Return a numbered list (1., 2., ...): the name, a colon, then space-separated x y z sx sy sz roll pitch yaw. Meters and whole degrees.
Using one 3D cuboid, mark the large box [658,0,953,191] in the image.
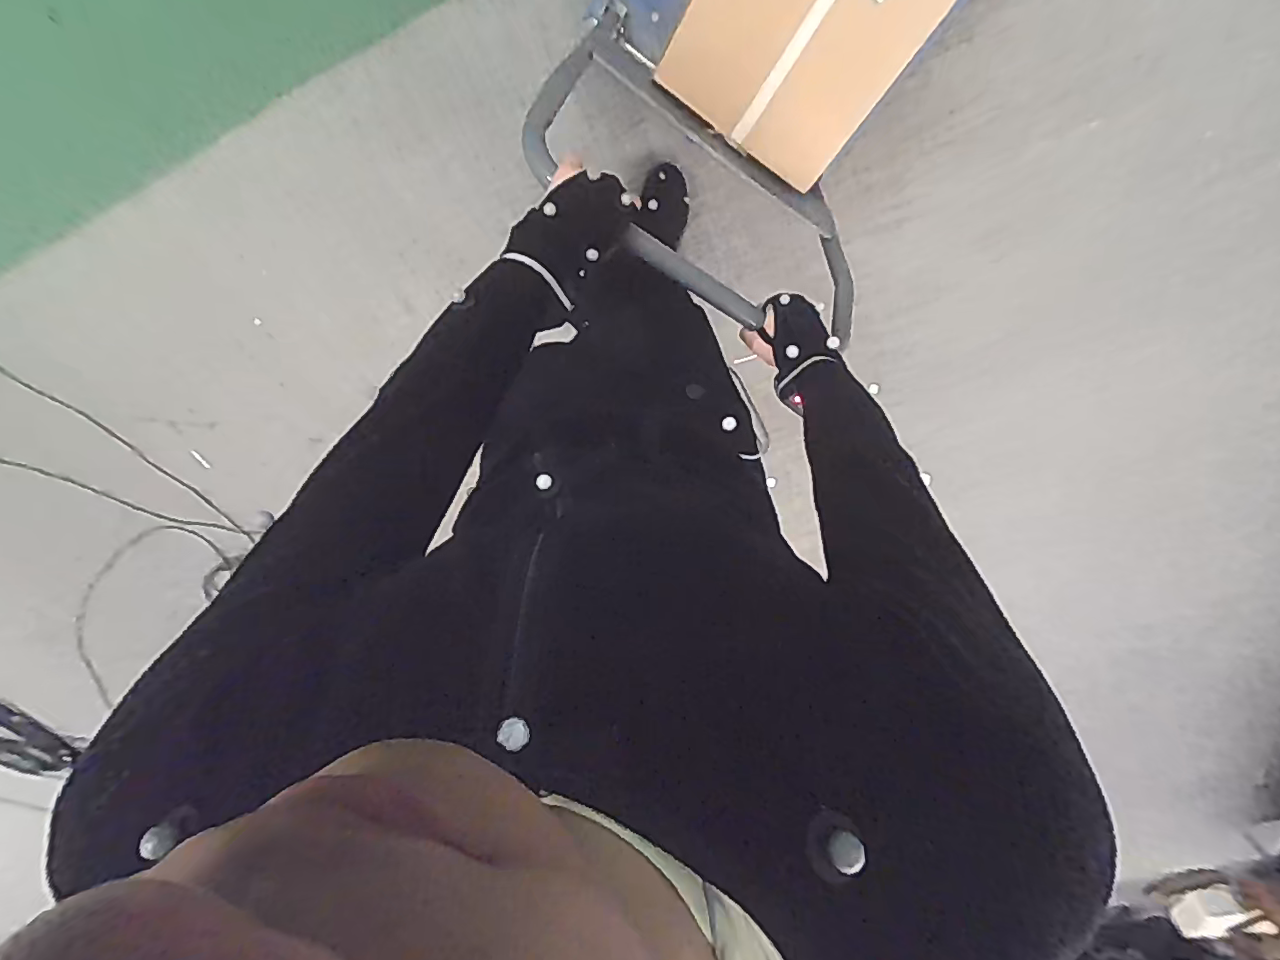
1. large box: 0.266 -0.776 0.870 0.320 0.320 0.408 26 131 -19
